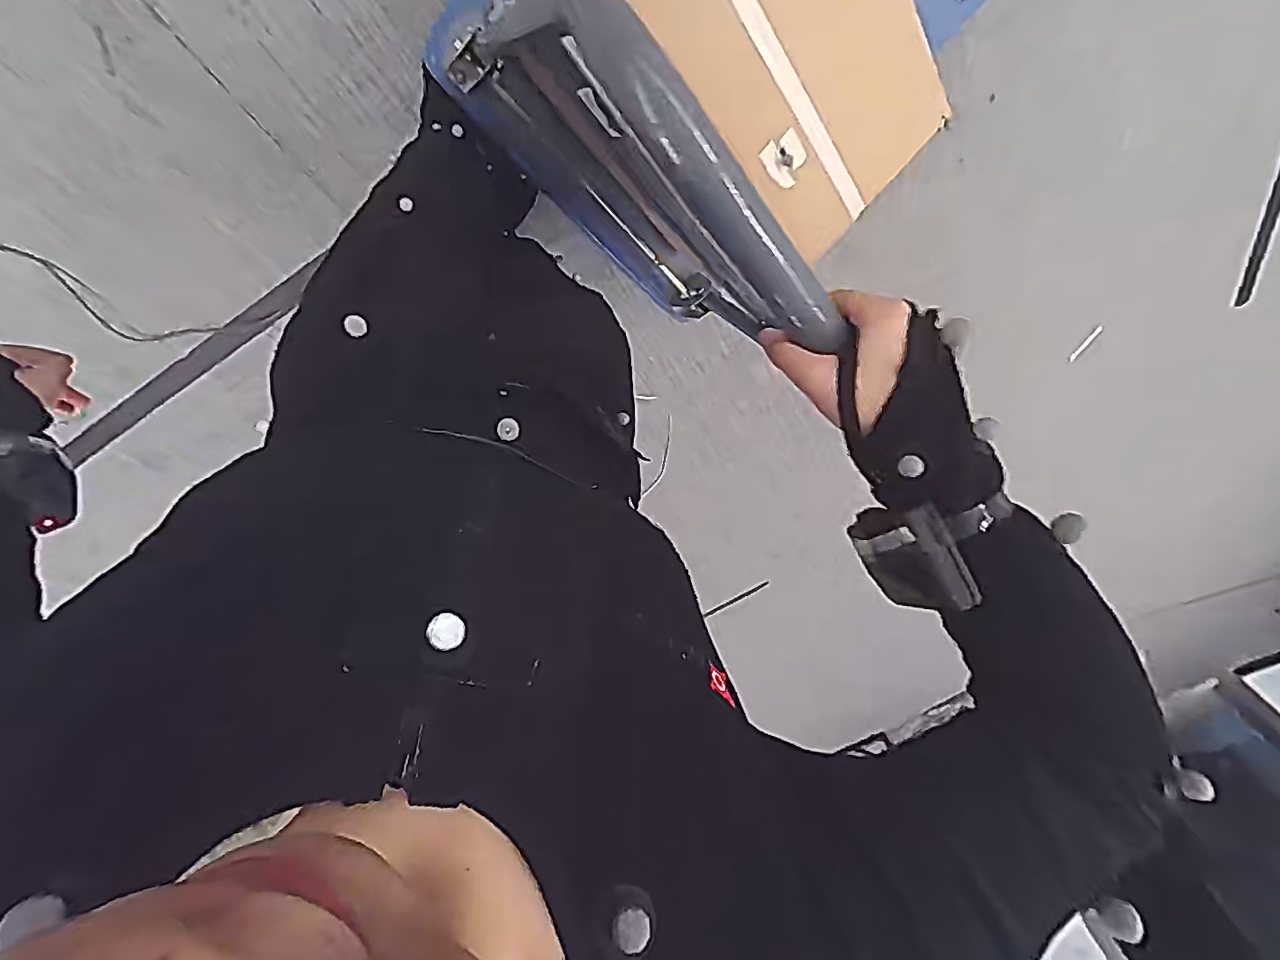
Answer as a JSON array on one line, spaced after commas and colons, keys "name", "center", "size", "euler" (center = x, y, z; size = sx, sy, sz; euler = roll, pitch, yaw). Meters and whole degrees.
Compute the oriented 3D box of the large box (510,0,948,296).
[{"name": "large box", "center": [0.104, -0.522, 0.698], "size": [0.320, 0.320, 0.408], "euler": [-46, 130, 12]}]
